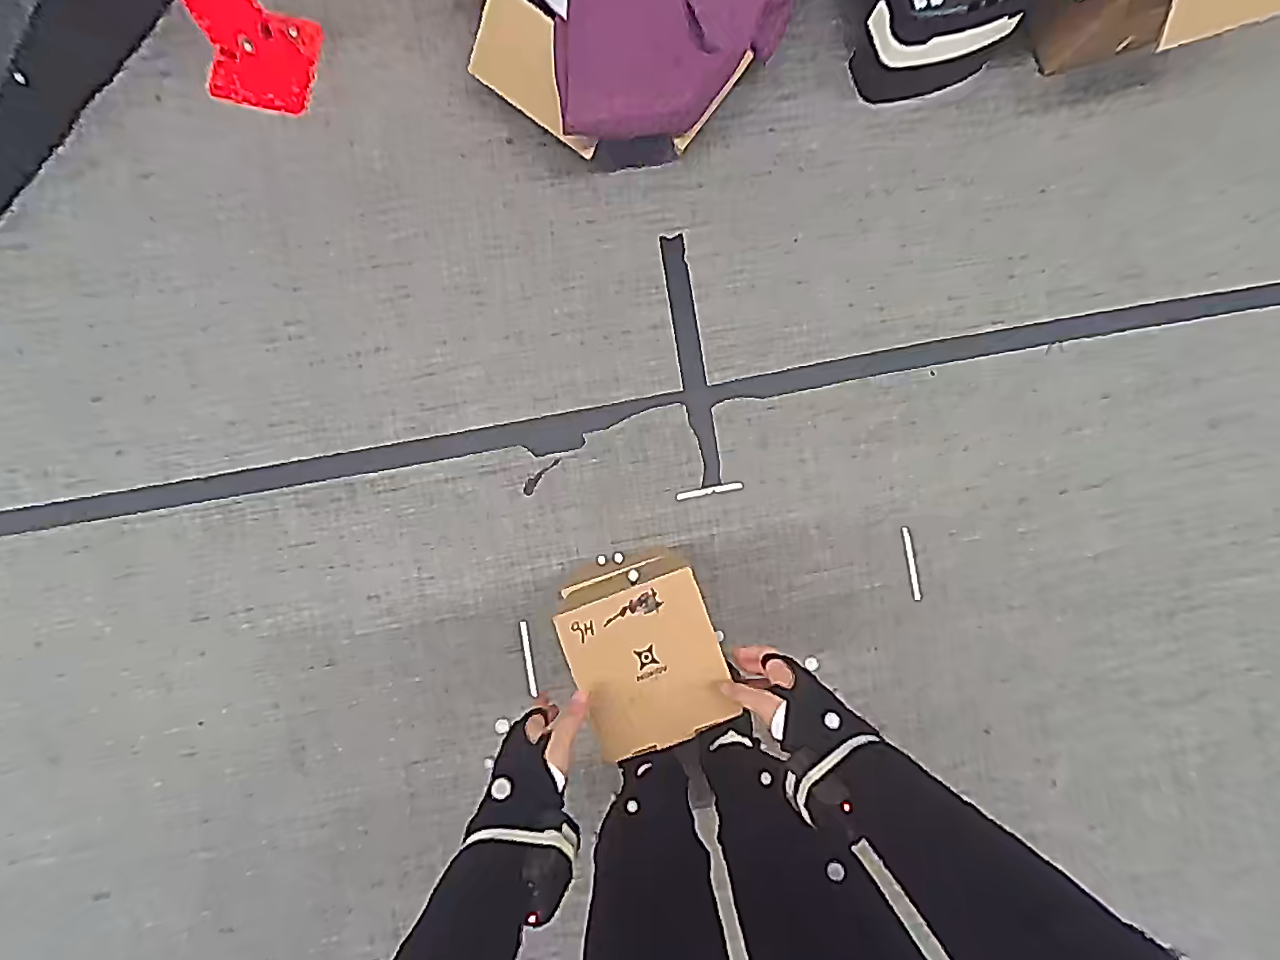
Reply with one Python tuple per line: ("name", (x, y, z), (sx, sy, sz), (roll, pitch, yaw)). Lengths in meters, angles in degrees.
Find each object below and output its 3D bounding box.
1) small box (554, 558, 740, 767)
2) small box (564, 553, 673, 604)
("small box", (0.008, 0.212, 0.677), (0.168, 0.176, 0.179), (-20, 88, -1))
("small box", (-0.008, 0.219, 0.841), (0.168, 0.176, 0.179), (-18, 88, -1))
